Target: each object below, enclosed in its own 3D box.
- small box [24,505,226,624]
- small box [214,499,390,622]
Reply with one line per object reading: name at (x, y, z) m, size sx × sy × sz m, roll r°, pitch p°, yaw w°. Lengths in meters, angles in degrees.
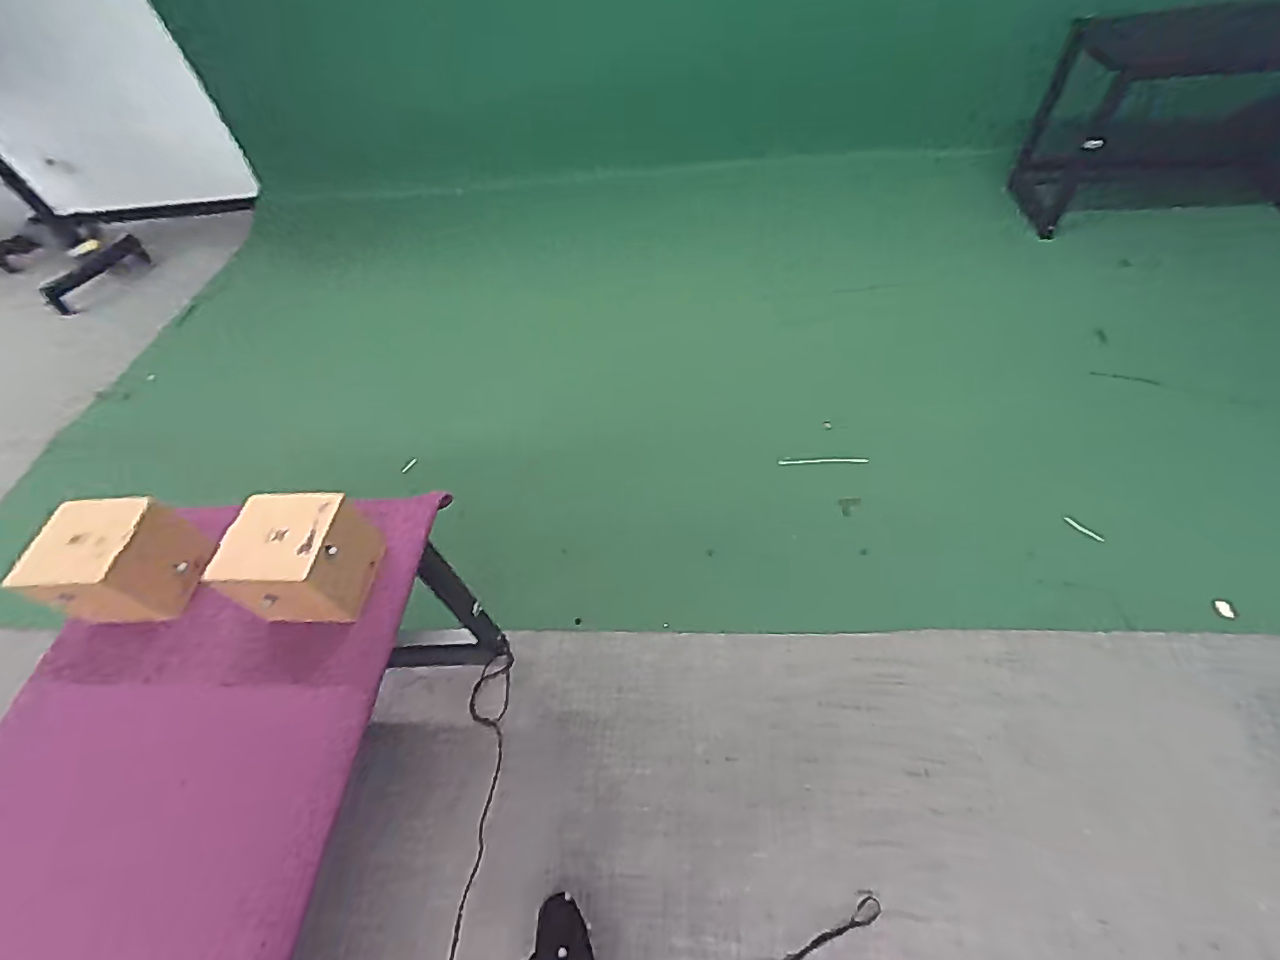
small box at (-0.942, 0.162, 1.010) m, size 0.179 × 0.176 × 0.168 m, roll -3°, pitch 56°, yaw 5°
small box at (-0.589, 0.148, 0.970) m, size 0.179 × 0.176 × 0.168 m, roll -2°, pitch 55°, yaw 7°
